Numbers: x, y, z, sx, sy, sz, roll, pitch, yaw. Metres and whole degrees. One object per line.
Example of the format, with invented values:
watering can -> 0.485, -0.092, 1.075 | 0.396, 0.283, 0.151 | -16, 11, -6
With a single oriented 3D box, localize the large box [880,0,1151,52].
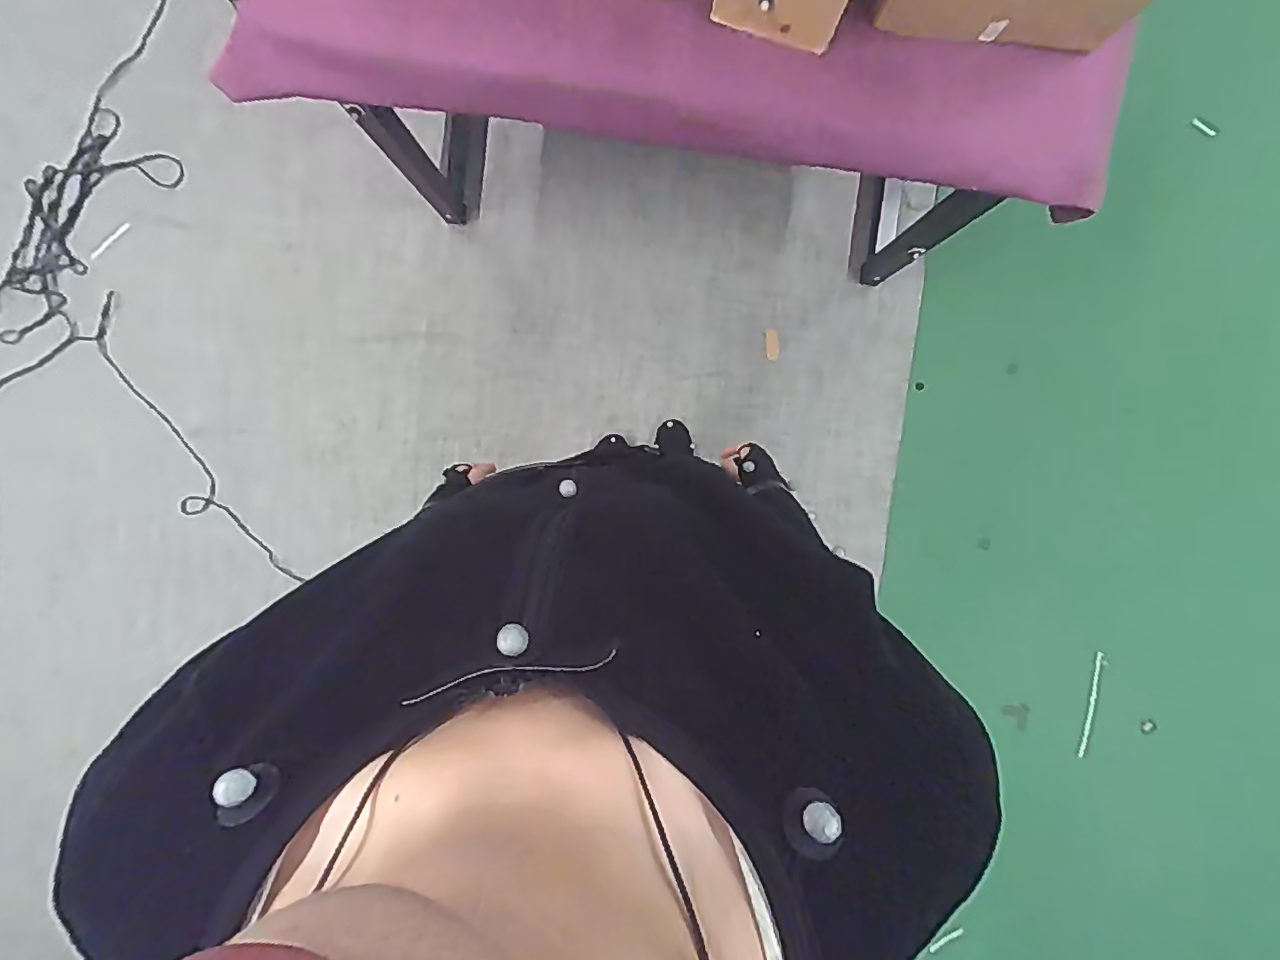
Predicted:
large box -> 0.493, -0.787, 0.578 | 0.320, 0.320, 0.408 | 7, 95, 2
